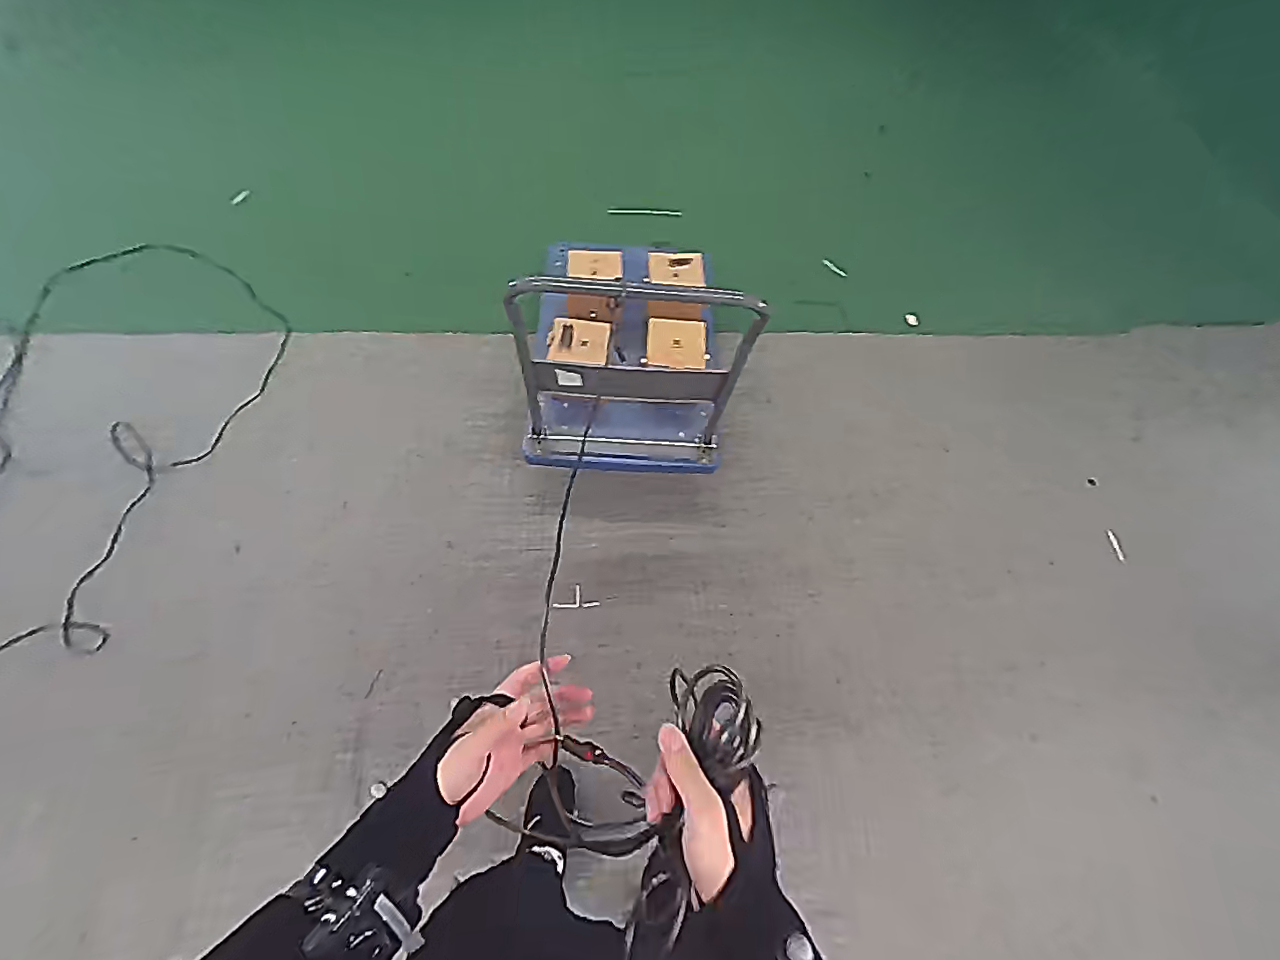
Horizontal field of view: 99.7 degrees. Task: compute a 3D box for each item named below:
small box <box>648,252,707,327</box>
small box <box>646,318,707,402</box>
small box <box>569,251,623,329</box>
[{"bbox_3d":[0.114,-0.602,1.738,0.168,0.176,0.179,0,66,-4],"label":"small box"},{"bbox_3d":[0.106,-0.357,1.623,0.168,0.176,0.179,4,65,-2],"label":"small box"},{"bbox_3d":[-0.137,-0.599,1.718,0.168,0.176,0.179,0,65,-5],"label":"small box"}]
